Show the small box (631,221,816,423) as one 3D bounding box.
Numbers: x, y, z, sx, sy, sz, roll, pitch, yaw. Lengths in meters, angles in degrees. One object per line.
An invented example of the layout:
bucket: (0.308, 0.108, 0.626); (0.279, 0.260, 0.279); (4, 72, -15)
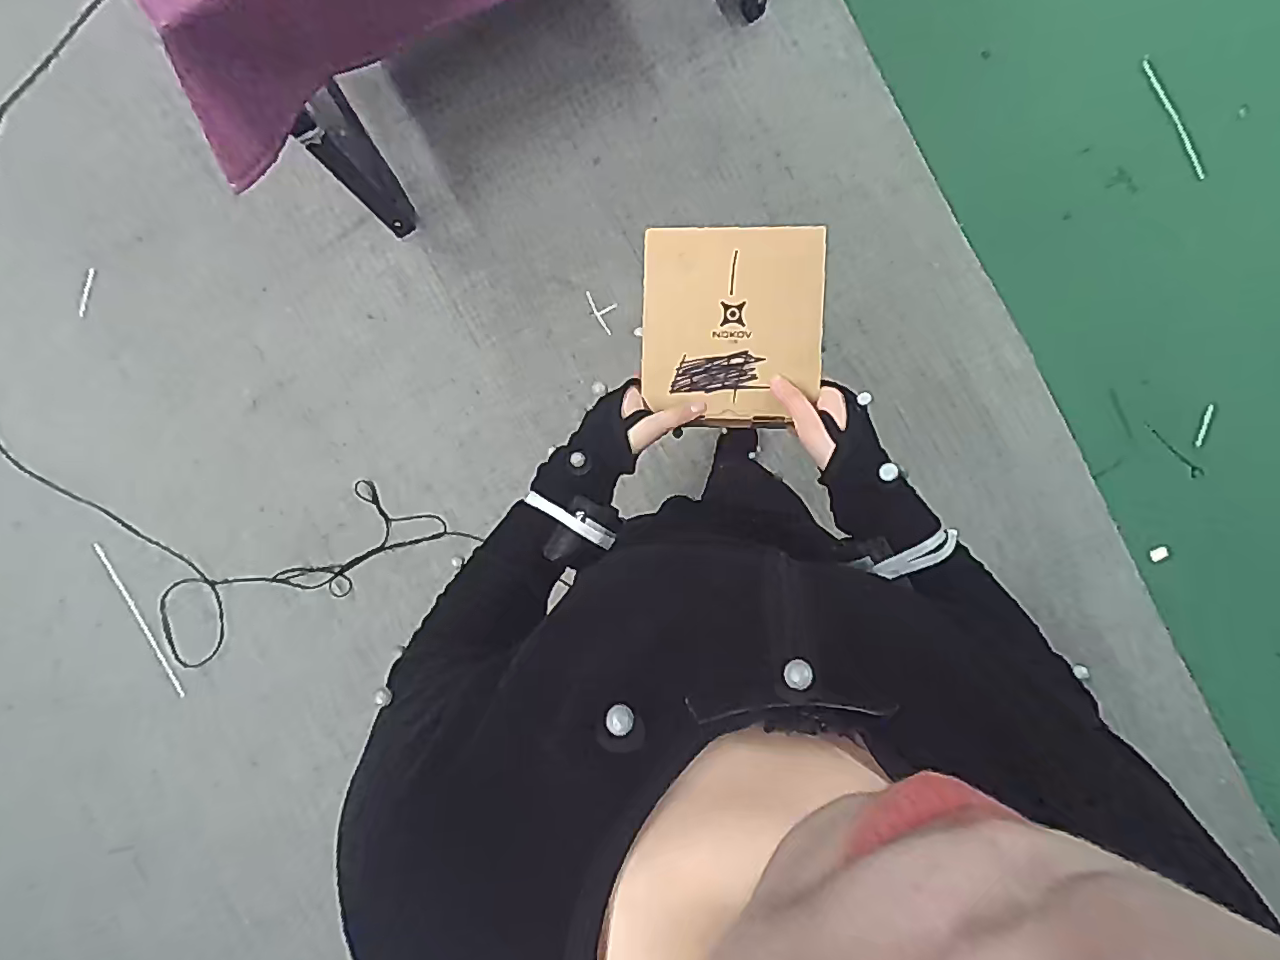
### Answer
small box: (0.084, -0.153, 0.577); (0.168, 0.176, 0.179); (1, 92, 6)
